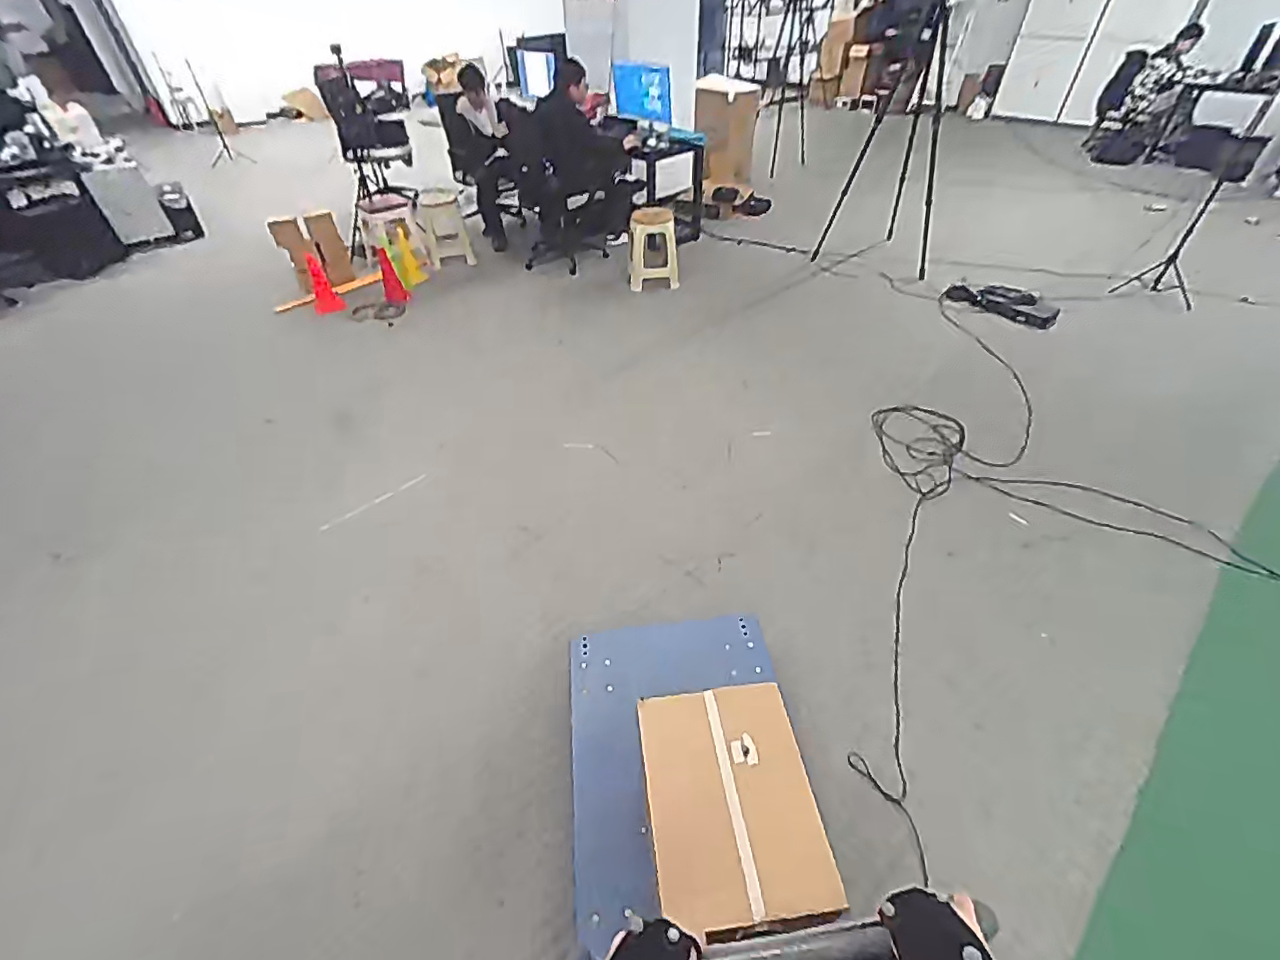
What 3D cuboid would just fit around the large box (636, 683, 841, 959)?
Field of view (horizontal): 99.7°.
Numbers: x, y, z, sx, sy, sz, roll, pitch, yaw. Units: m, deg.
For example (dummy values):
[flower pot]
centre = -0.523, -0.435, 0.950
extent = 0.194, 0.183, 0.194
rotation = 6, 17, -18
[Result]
[large box]
centre = 0.175, 0.713, 1.151
extent = 0.320, 0.320, 0.408
rotation = -6, 41, -5
